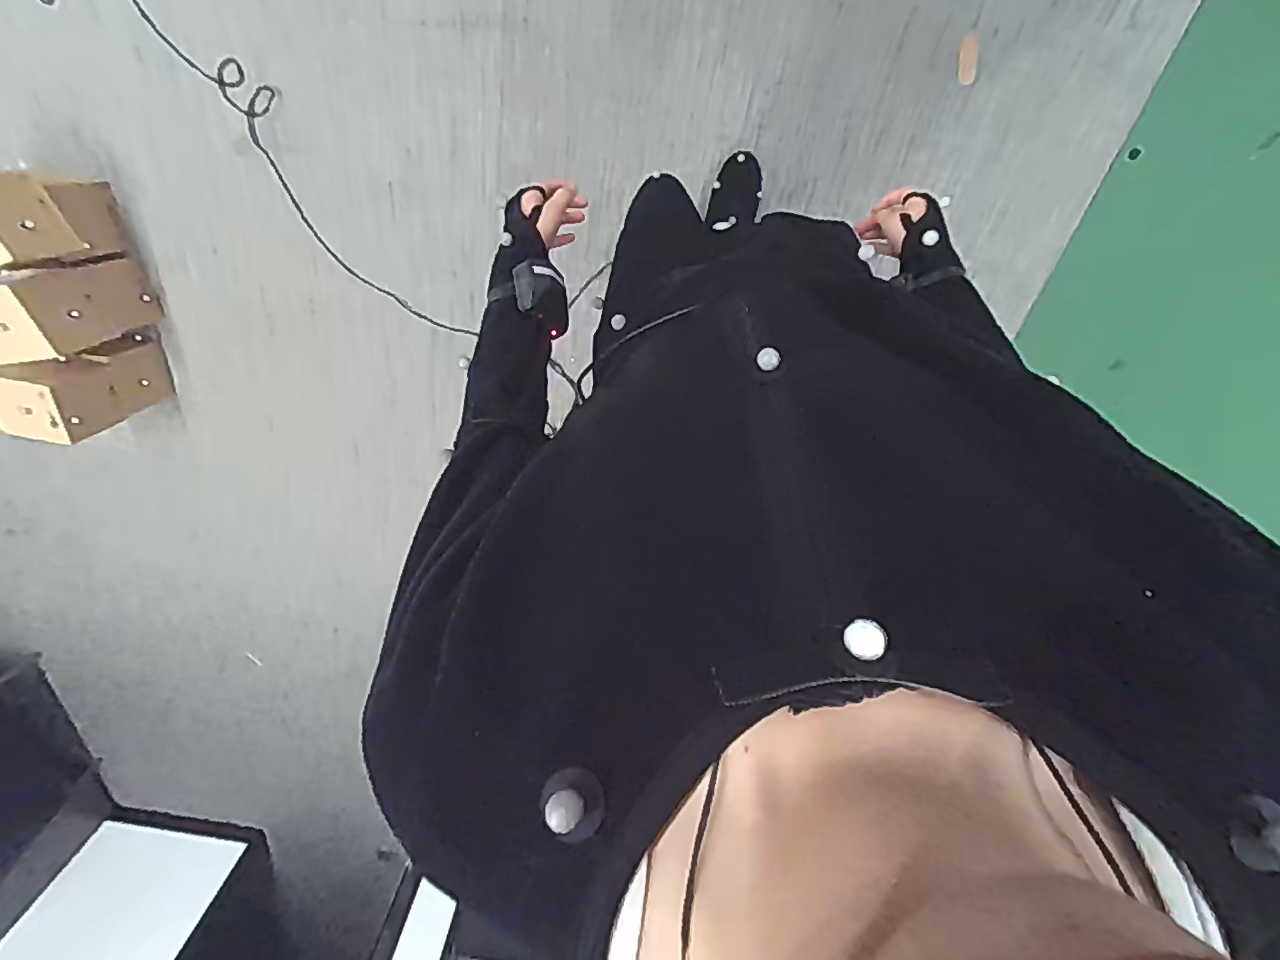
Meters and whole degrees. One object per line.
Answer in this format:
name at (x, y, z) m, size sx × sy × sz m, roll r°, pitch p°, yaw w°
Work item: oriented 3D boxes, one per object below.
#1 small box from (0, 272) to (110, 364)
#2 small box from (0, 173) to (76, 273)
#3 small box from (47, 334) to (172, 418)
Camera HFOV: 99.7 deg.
small box at (-1.422, -0.384, 1.273) m, size 0.179 × 0.176 × 0.168 m, roll -4°, pitch 120°, yaw 8°
small box at (-1.400, -0.552, 1.170) m, size 0.179 × 0.176 × 0.168 m, roll -11°, pitch 119°, yaw 12°
small box at (-1.480, -0.299, 1.518) m, size 0.168 × 0.176 × 0.179 m, roll 11°, pitch 122°, yaw -1°
